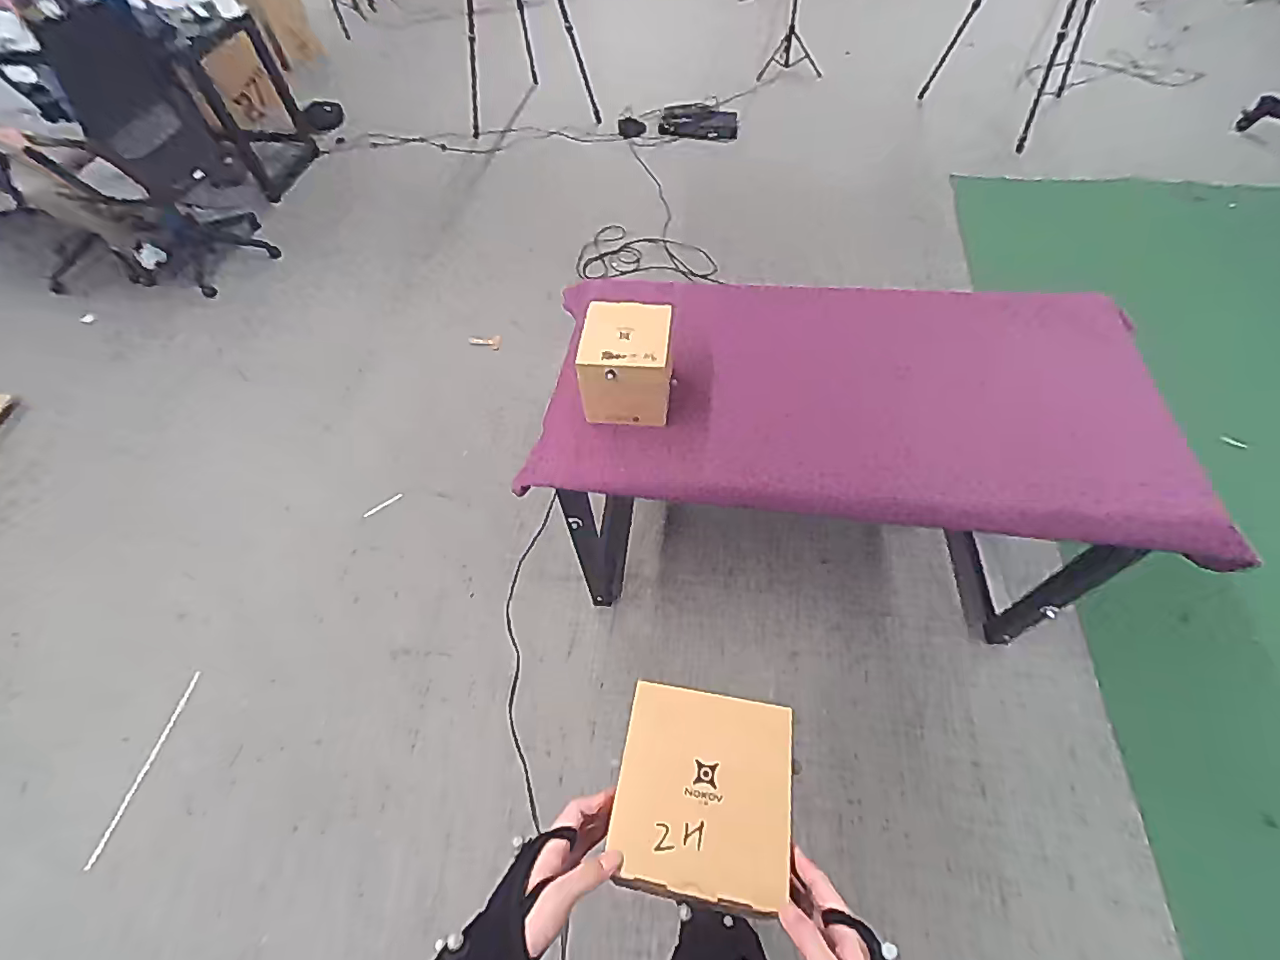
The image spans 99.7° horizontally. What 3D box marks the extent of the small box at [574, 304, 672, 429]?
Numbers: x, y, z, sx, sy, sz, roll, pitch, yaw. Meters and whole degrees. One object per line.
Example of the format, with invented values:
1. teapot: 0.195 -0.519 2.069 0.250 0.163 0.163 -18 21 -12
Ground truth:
1. small box: -0.026 -0.225 1.078 0.168 0.176 0.179 4 55 6

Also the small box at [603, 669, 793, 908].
1. small box: 0.063 0.331 0.581 0.168 0.176 0.179 7 51 9
